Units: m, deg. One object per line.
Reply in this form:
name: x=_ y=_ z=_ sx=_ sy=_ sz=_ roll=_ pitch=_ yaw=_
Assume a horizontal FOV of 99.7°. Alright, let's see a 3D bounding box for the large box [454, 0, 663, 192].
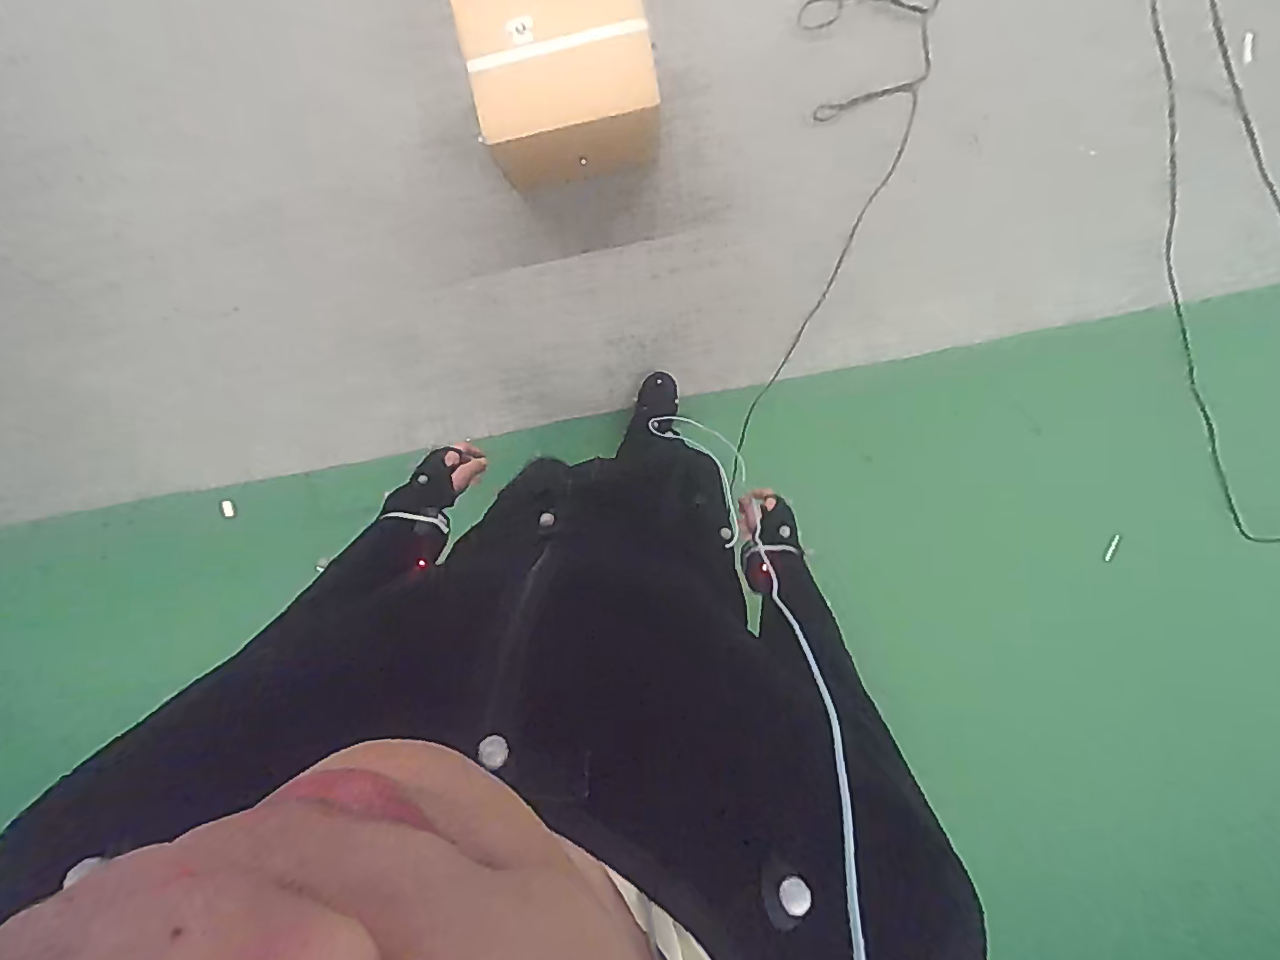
large box: x=-0.171 y=-0.960 z=1.324 sx=0.408 sy=0.320 sz=0.320 roll=-12 pitch=99 yaw=4
